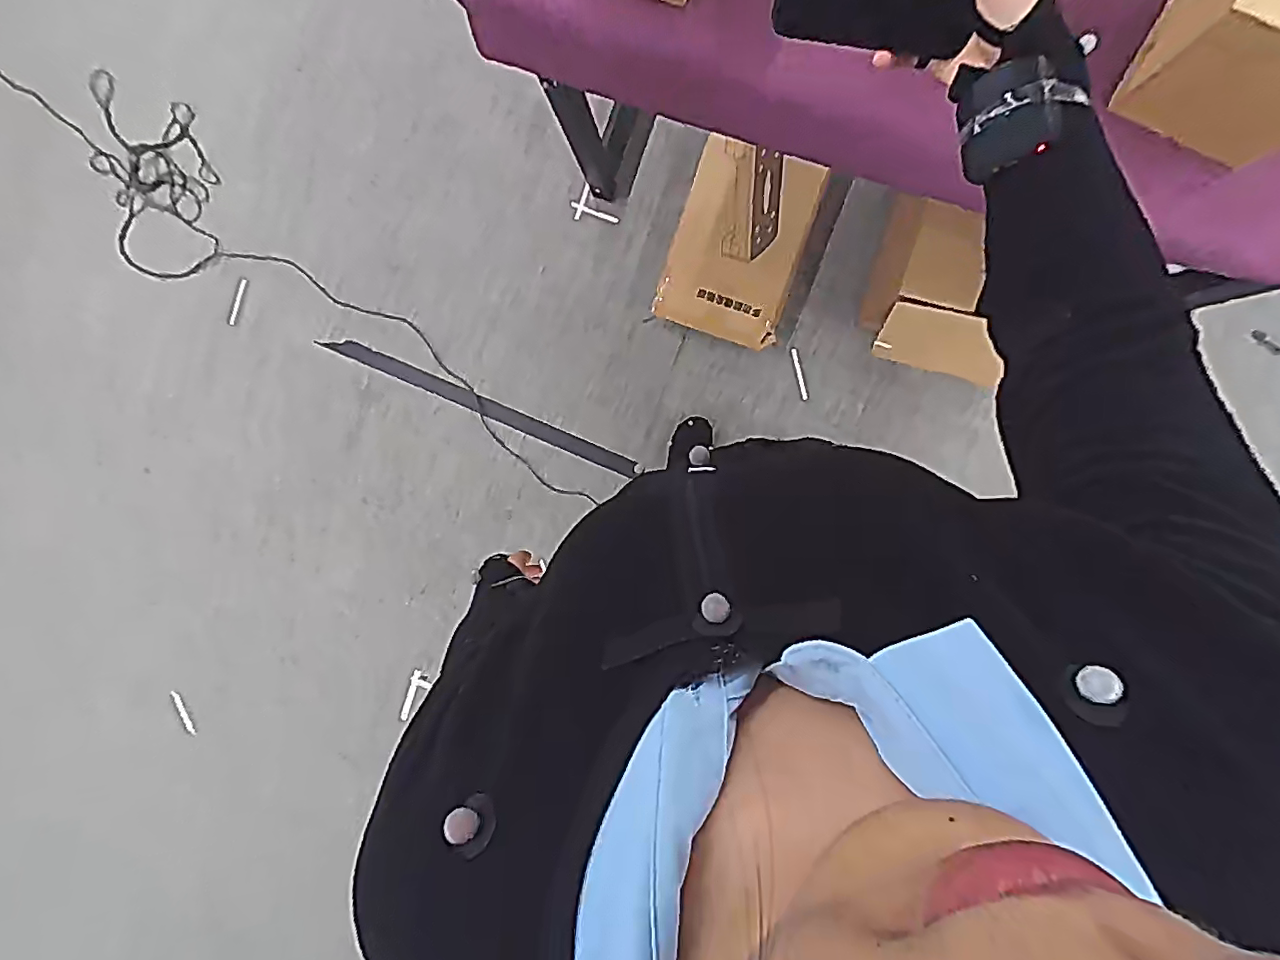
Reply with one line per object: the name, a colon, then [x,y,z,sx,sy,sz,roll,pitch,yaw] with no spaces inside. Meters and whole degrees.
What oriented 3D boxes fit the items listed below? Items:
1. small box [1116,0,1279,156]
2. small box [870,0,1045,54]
small box: [0.671,-0.481,0.564,0.179,0.176,0.168,27,98,3]
small box: [0.382,-0.613,0.582,0.179,0.176,0.168,20,95,4]
